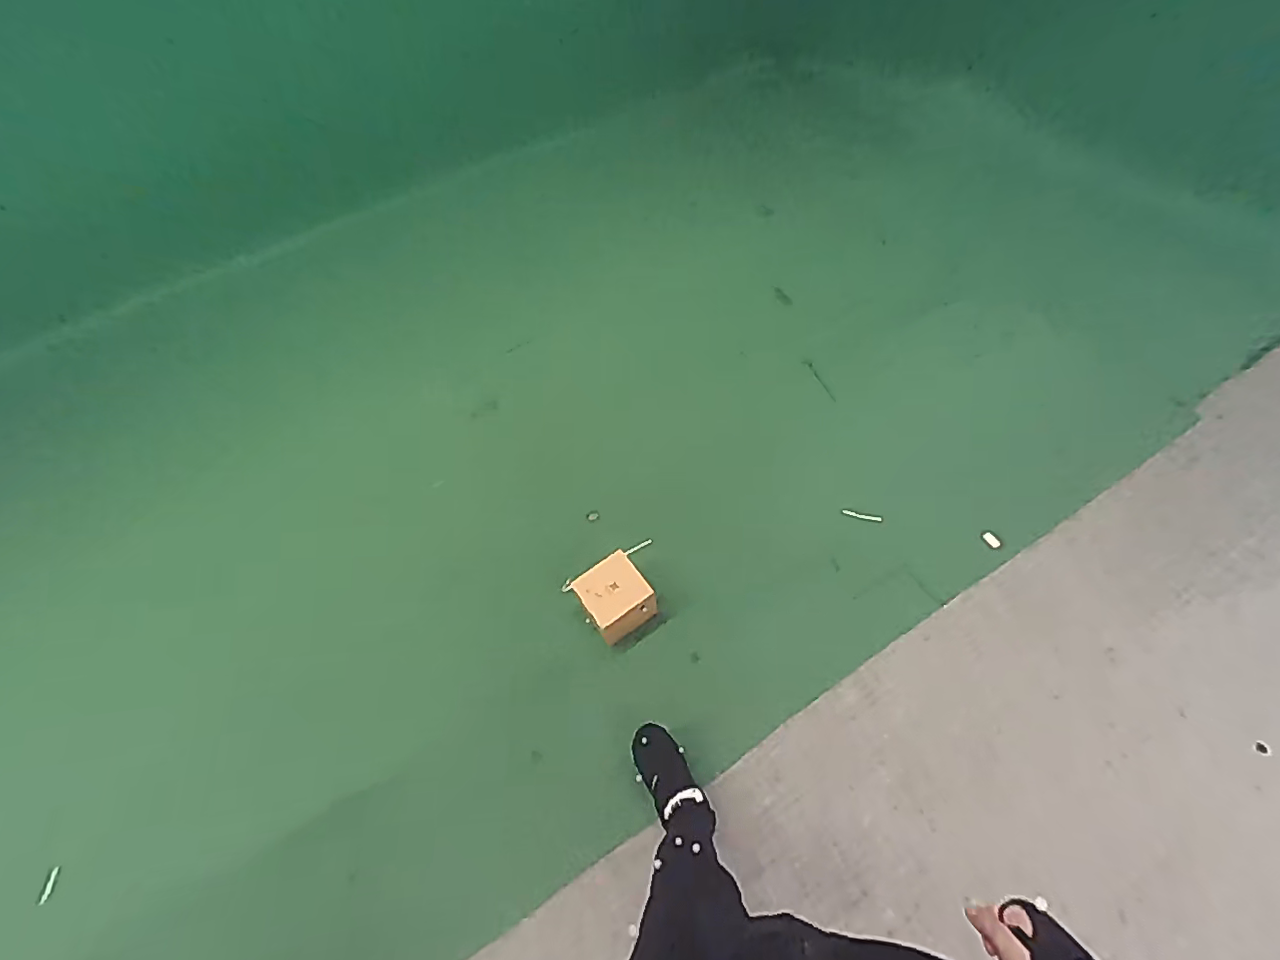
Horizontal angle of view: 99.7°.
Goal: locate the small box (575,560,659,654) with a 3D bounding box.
[{"bbox_3d":[-0.060,0.366,1.545,0.179,0.176,0.168,-33,60,-15],"label":"small box"}]
